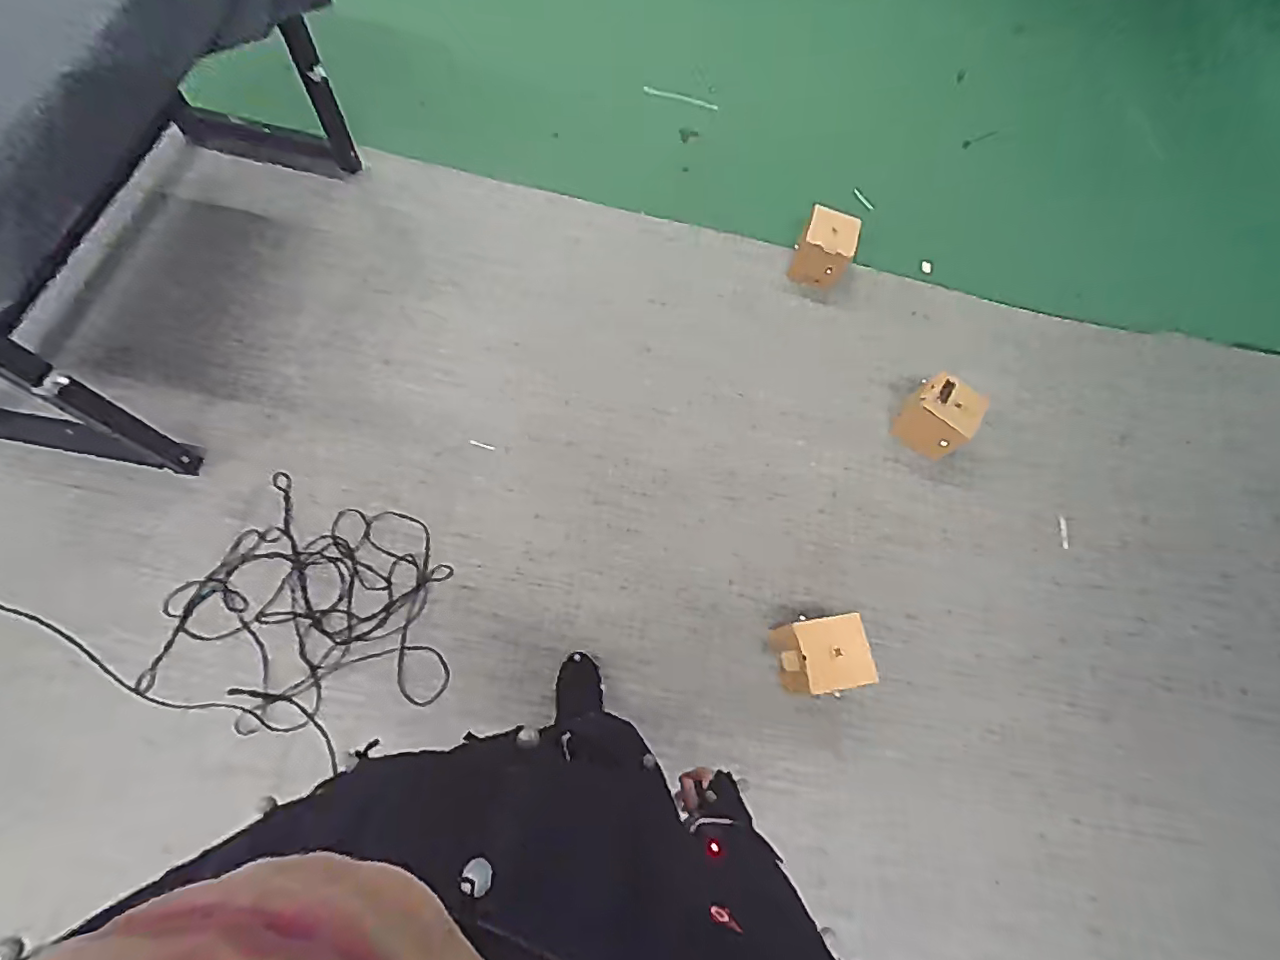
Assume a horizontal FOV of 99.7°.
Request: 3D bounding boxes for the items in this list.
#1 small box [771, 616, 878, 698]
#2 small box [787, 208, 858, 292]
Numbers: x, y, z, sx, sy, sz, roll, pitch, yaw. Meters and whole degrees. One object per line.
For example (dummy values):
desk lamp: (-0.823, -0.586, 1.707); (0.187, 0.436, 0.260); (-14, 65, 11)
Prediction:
small box: (0.455, 0.443, 1.358); (0.179, 0.176, 0.168); (-7, 70, -10)
small box: (0.623, -0.785, 1.862); (0.168, 0.176, 0.179); (20, 67, -2)
